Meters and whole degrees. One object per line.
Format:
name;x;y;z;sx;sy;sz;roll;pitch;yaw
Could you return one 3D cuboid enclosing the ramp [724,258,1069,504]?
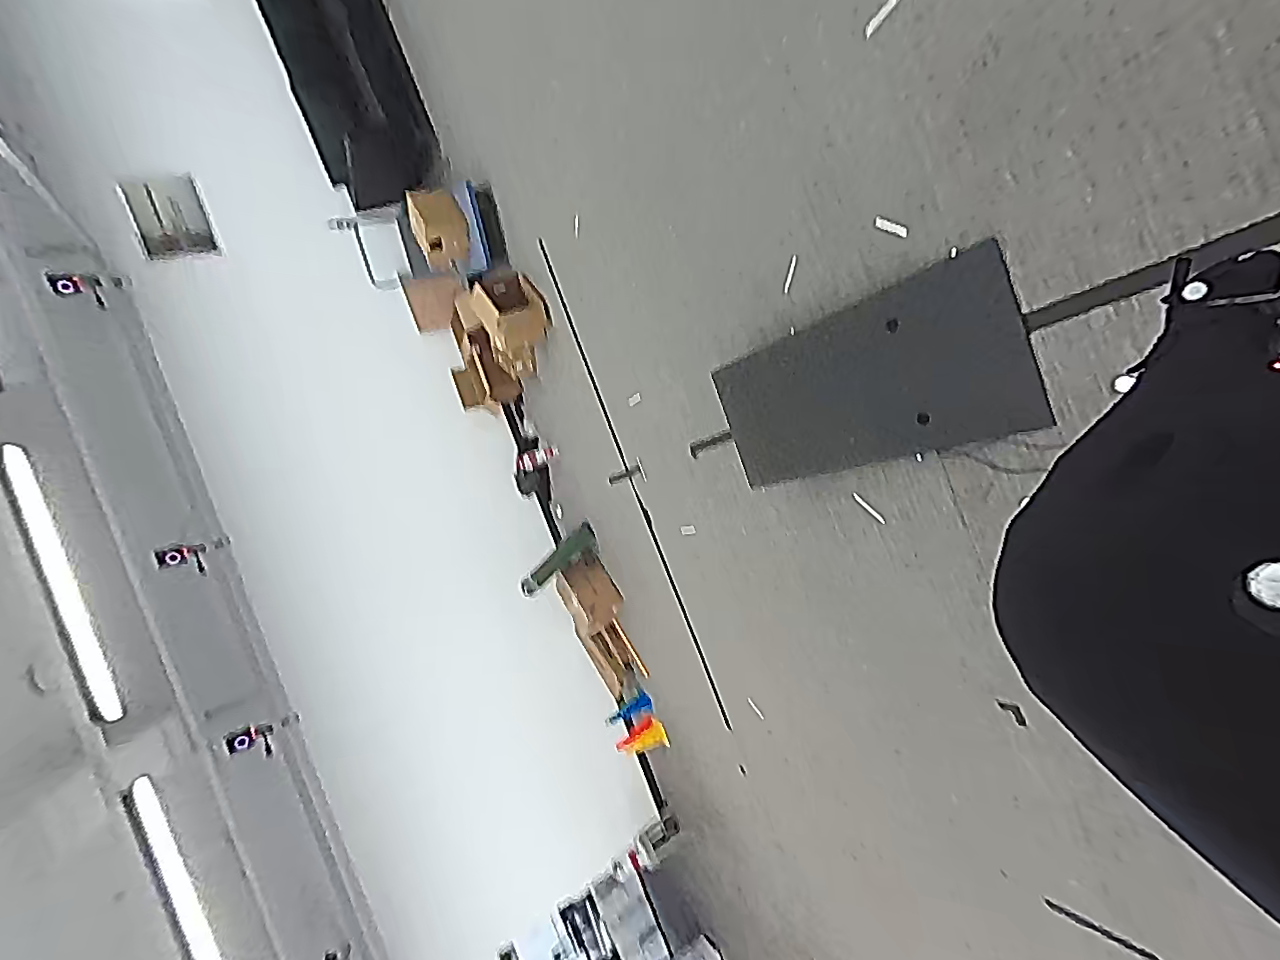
ramp;0.691;-0.230;1.712;0.991;0.206;0.509;-21;87;63
